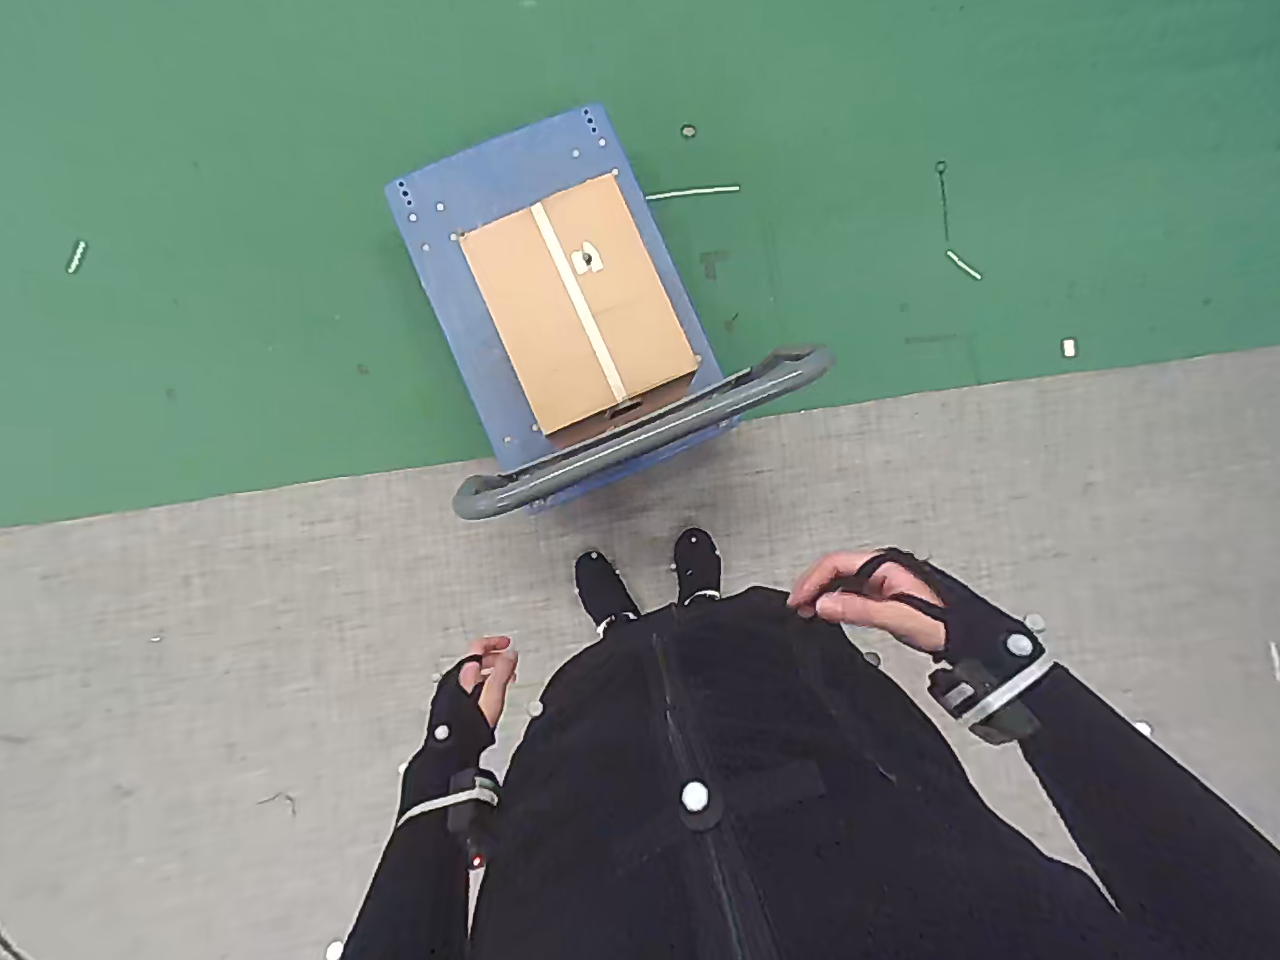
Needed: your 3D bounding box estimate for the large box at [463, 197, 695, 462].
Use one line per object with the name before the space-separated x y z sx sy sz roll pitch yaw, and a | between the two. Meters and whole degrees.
large box | -0.115 -0.290 1.159 0.320 0.320 0.408 -24 86 -3
